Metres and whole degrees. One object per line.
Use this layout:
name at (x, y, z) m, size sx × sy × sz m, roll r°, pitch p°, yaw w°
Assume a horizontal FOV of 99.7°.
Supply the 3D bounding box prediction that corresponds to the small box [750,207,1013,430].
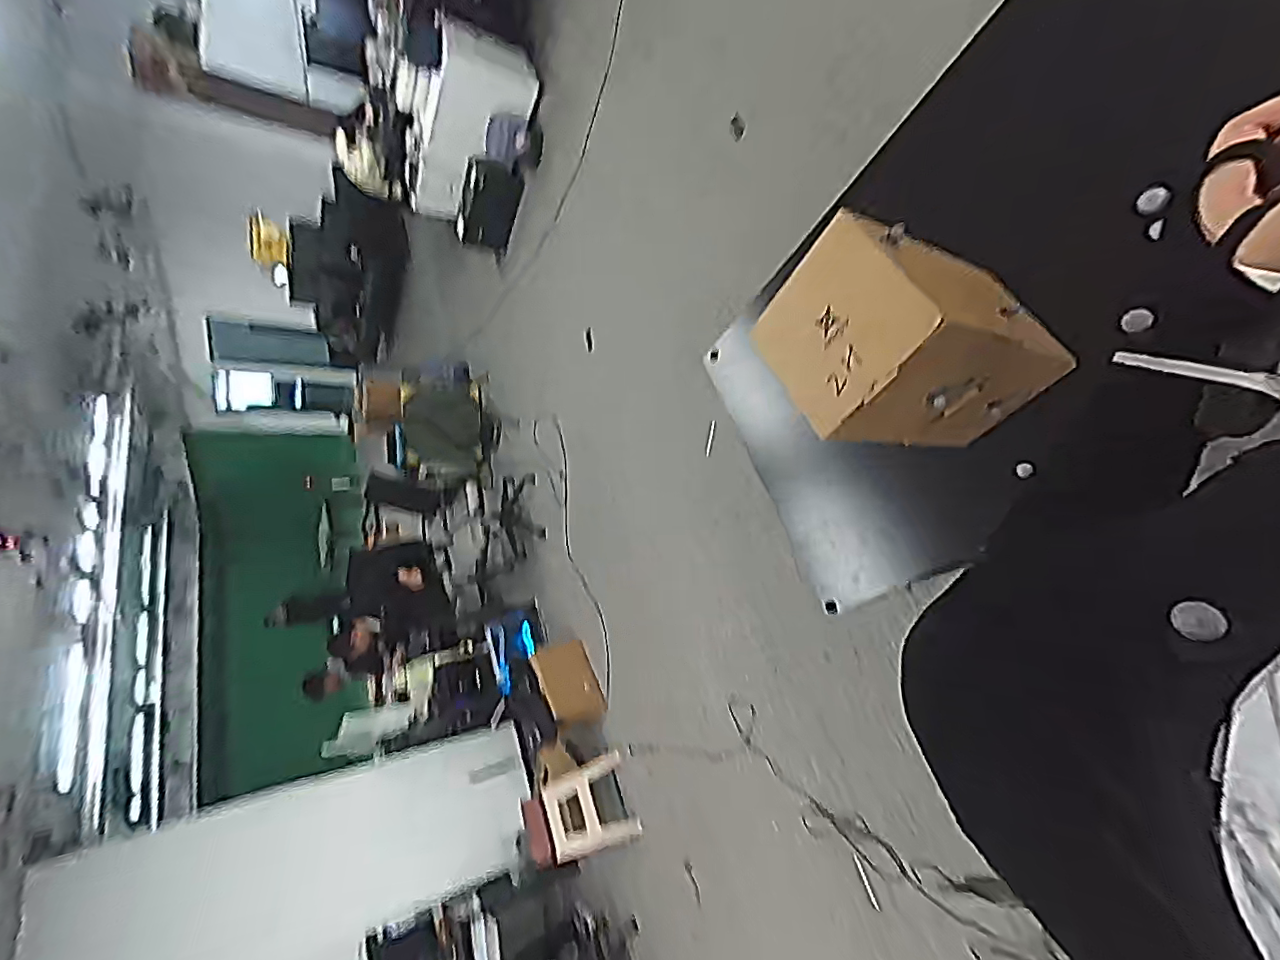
small box at (0.266, -0.168, 0.613) m, size 0.168 × 0.176 × 0.179 m, roll -54°, pitch 50°, yaw 42°

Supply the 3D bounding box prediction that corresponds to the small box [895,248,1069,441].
small box at (0.403, -0.168, 0.708) m, size 0.168 × 0.176 × 0.179 m, roll -52°, pitch 52°, yaw 42°
